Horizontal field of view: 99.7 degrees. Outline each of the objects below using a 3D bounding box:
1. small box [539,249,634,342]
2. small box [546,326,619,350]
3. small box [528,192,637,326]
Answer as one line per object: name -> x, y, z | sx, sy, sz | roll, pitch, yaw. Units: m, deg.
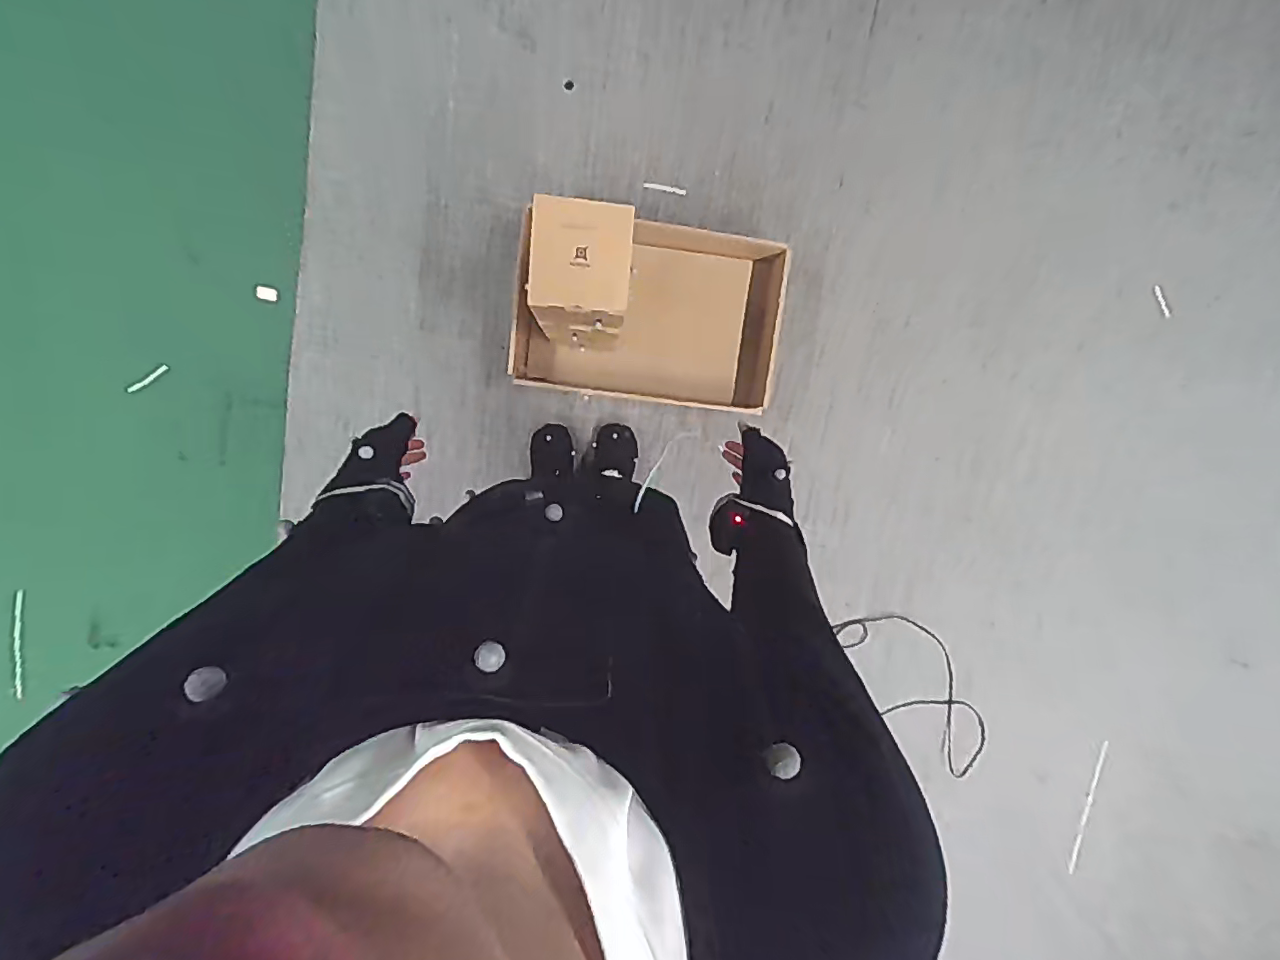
small box -> -0.110, -0.392, 1.115 | 0.168, 0.176, 0.179 | 7, 98, -6
small box -> -0.123, -0.413, 1.276 | 0.168, 0.176, 0.179 | 8, 97, -5
small box -> -0.099, -0.376, 0.953 | 0.168, 0.176, 0.179 | 5, 98, -6
